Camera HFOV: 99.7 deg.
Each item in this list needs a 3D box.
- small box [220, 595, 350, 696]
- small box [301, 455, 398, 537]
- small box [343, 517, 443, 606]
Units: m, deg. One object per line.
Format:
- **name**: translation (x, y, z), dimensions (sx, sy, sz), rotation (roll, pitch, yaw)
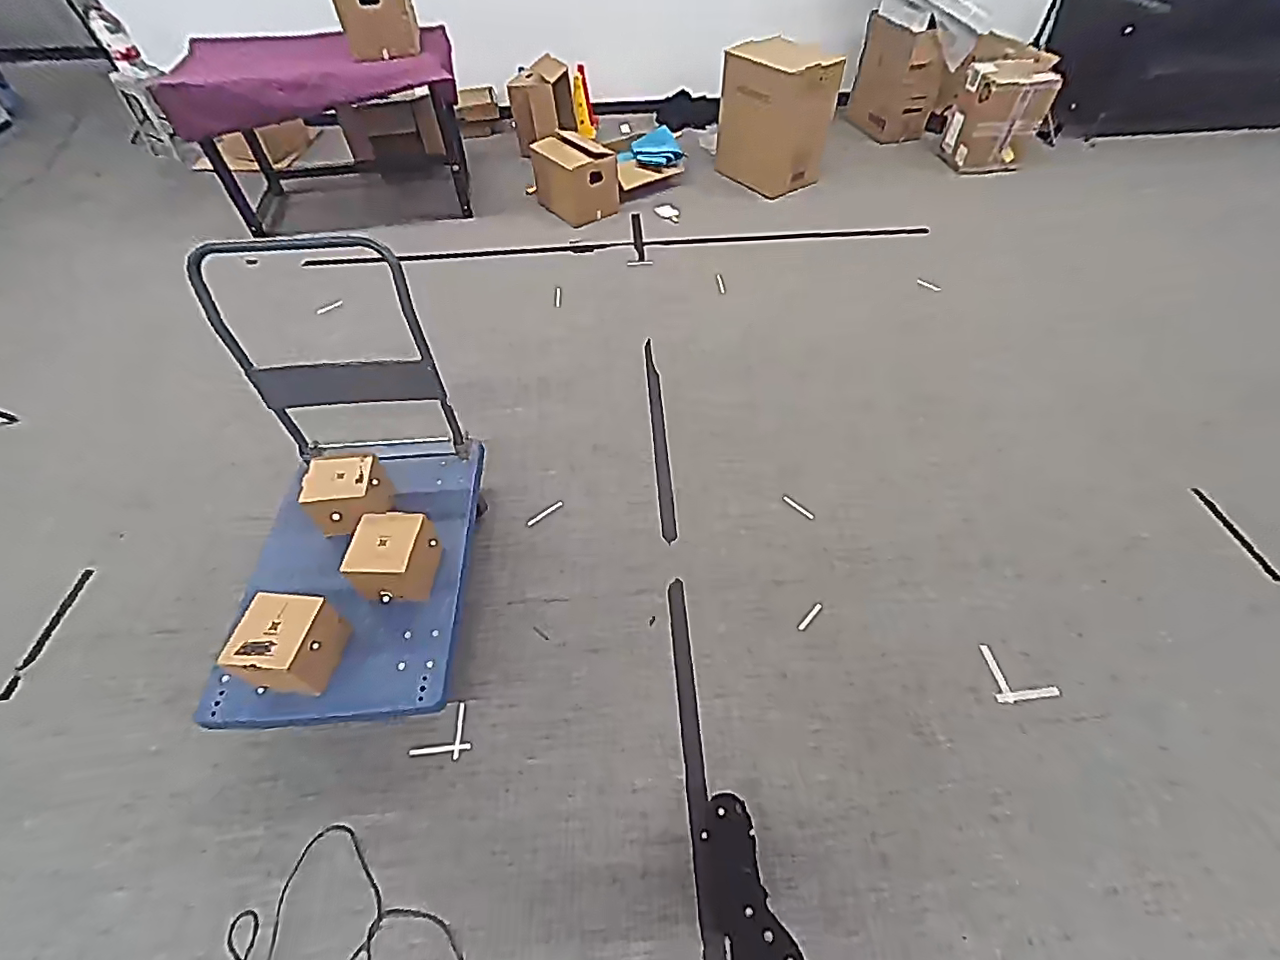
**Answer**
- **small box**: translation (-0.826, 0.396, 1.283), dimensions (0.168, 0.176, 0.179), rotation (4, 50, 4)
- **small box**: translation (-0.832, 0.052, 1.566), dimensions (0.179, 0.176, 0.168), rotation (-7, 52, -4)
- **small box**: translation (-0.641, 0.215, 1.431), dimensions (0.168, 0.176, 0.179), rotation (0, 52, 3)
